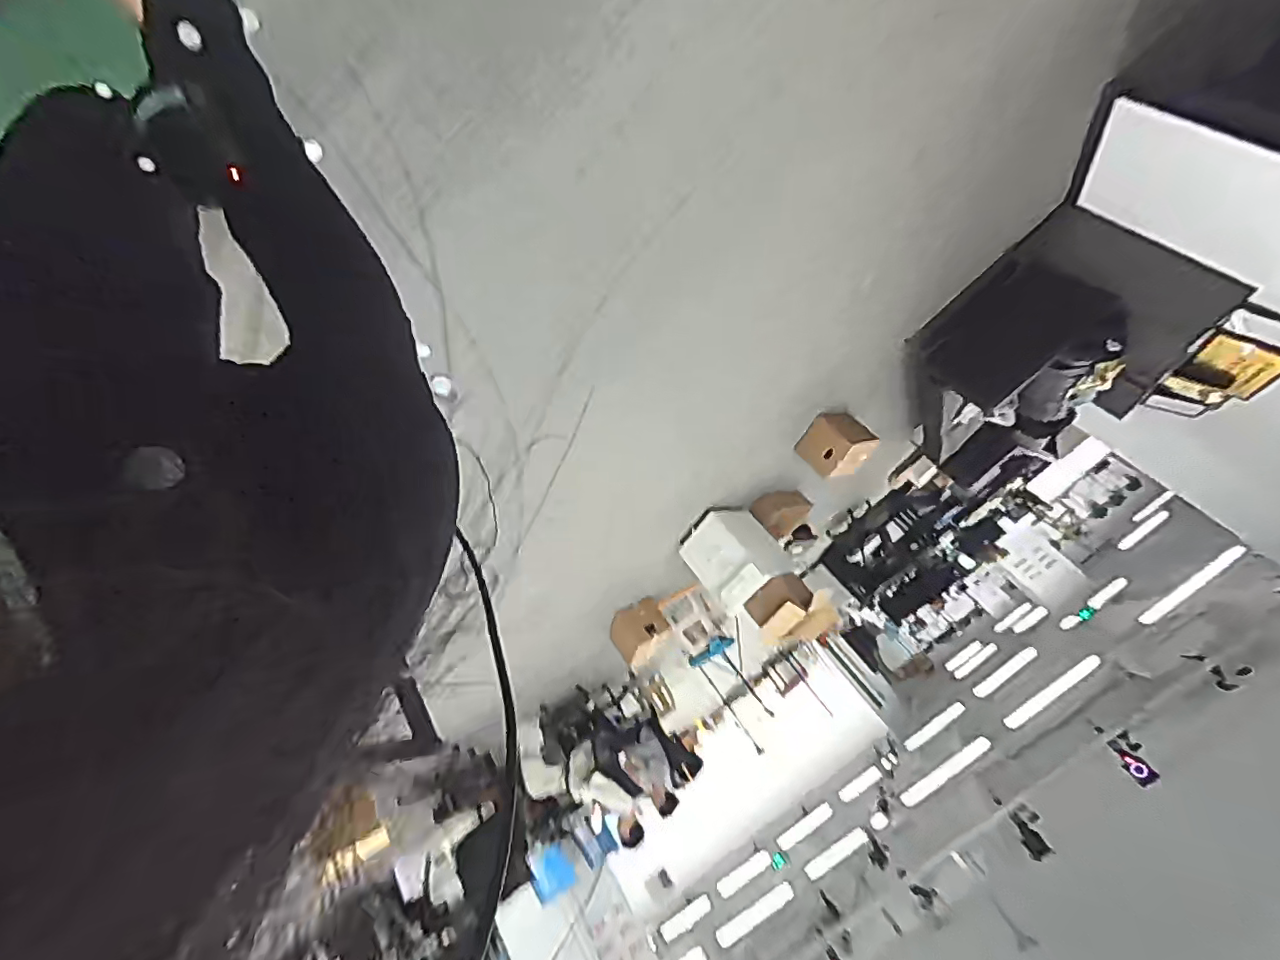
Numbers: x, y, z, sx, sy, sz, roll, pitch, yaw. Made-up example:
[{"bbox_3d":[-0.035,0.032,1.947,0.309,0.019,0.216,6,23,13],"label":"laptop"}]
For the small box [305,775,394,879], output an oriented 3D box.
[{"bbox_3d":[-0.821,0.978,1.534,0.179,0.176,0.168,-20,146,-33],"label":"small box"}]
